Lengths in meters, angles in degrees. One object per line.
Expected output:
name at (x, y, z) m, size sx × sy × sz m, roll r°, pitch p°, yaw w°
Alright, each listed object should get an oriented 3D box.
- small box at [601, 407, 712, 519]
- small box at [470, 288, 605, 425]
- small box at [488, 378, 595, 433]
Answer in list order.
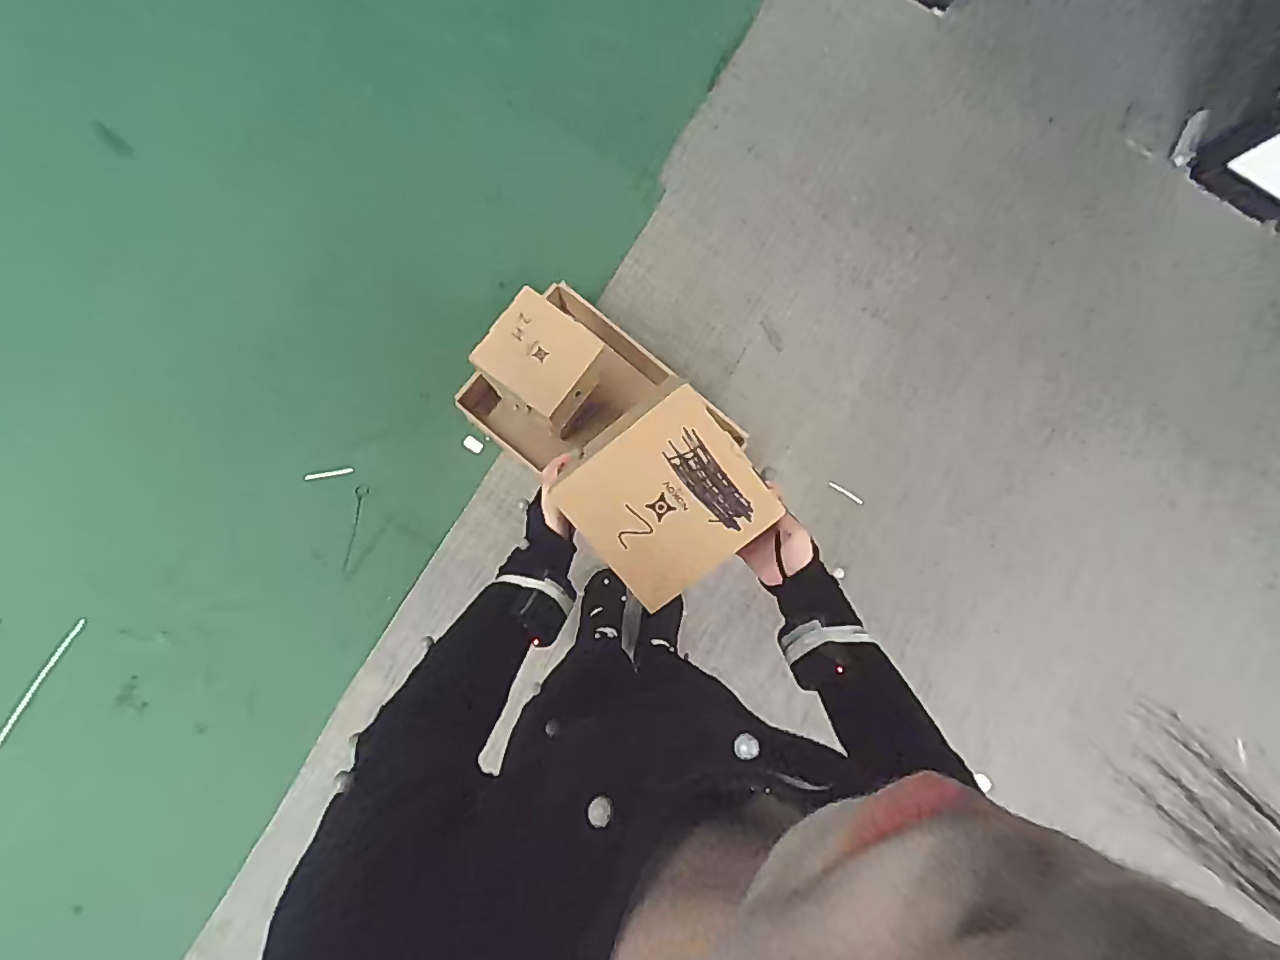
small box at (0.031, -0.030, 1.187) m, size 0.168 × 0.176 × 0.179 m, roll 38°, pitch 84°, yaw -1°
small box at (-0.183, -0.219, 1.018) m, size 0.179 × 0.176 × 0.168 m, roll 37°, pitch 85°, yaw -3°
small box at (-0.206, -0.224, 1.182) m, size 0.168 × 0.176 × 0.179 m, roll 39°, pitch 86°, yaw -3°
